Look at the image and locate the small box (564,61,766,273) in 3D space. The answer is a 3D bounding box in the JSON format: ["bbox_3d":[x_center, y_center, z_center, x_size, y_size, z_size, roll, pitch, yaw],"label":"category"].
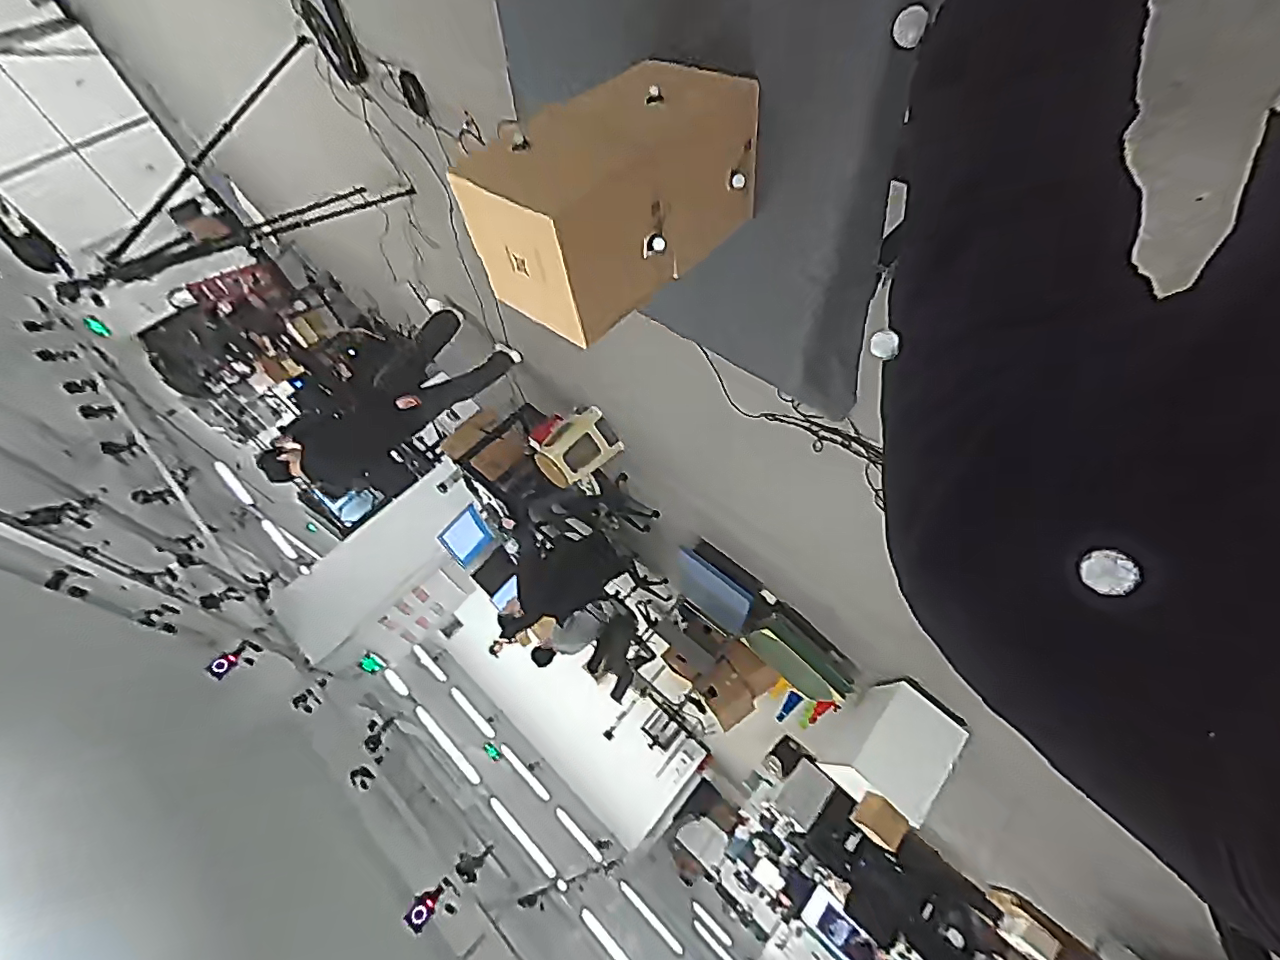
[{"bbox_3d":[0.035,-0.402,0.689,0.179,0.176,0.168,34,156,27],"label":"small box"}]

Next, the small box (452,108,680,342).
[{"bbox_3d":[-0.074,-0.299,0.627,0.179,0.176,0.168,33,157,27],"label":"small box"}]
